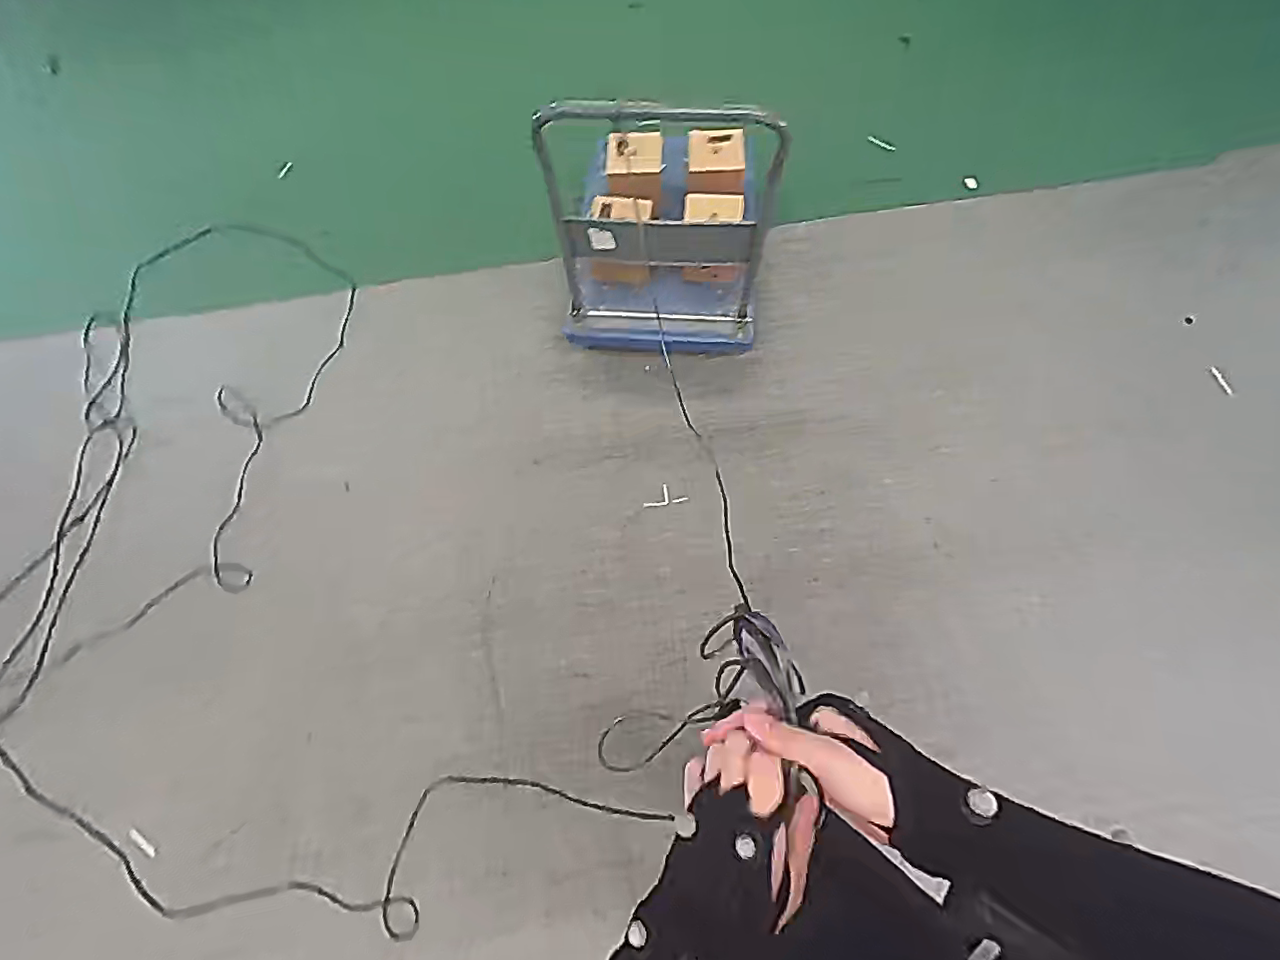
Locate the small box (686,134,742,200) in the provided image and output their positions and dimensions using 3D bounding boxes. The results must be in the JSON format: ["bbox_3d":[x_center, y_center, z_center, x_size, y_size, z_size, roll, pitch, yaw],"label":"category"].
[{"bbox_3d":[0.233,-0.969,1.732,0.168,0.176,0.179,-1,69,4],"label":"small box"}]

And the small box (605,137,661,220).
[{"bbox_3d":[-0.018,-0.966,1.745,0.168,0.176,0.179,0,68,3],"label":"small box"}]

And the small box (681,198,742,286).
[{"bbox_3d":[0.212,-0.718,1.634,0.168,0.176,0.179,4,69,5],"label":"small box"}]
